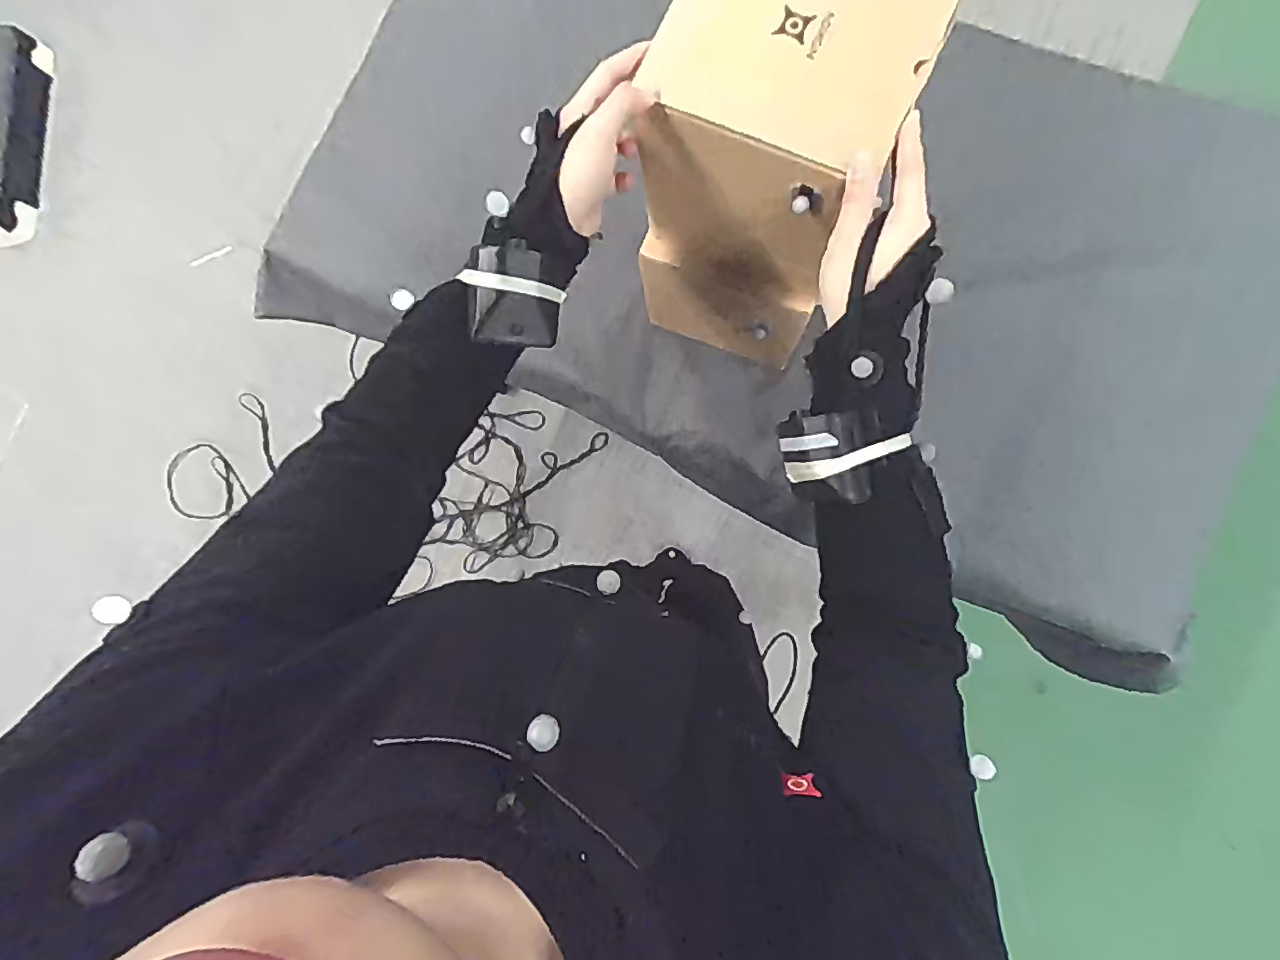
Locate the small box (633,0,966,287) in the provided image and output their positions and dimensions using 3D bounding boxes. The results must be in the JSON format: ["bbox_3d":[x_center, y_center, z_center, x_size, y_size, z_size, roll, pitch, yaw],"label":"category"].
[{"bbox_3d":[0.113,-0.283,0.428,0.179,0.176,0.168,25,86,7],"label":"small box"}]
